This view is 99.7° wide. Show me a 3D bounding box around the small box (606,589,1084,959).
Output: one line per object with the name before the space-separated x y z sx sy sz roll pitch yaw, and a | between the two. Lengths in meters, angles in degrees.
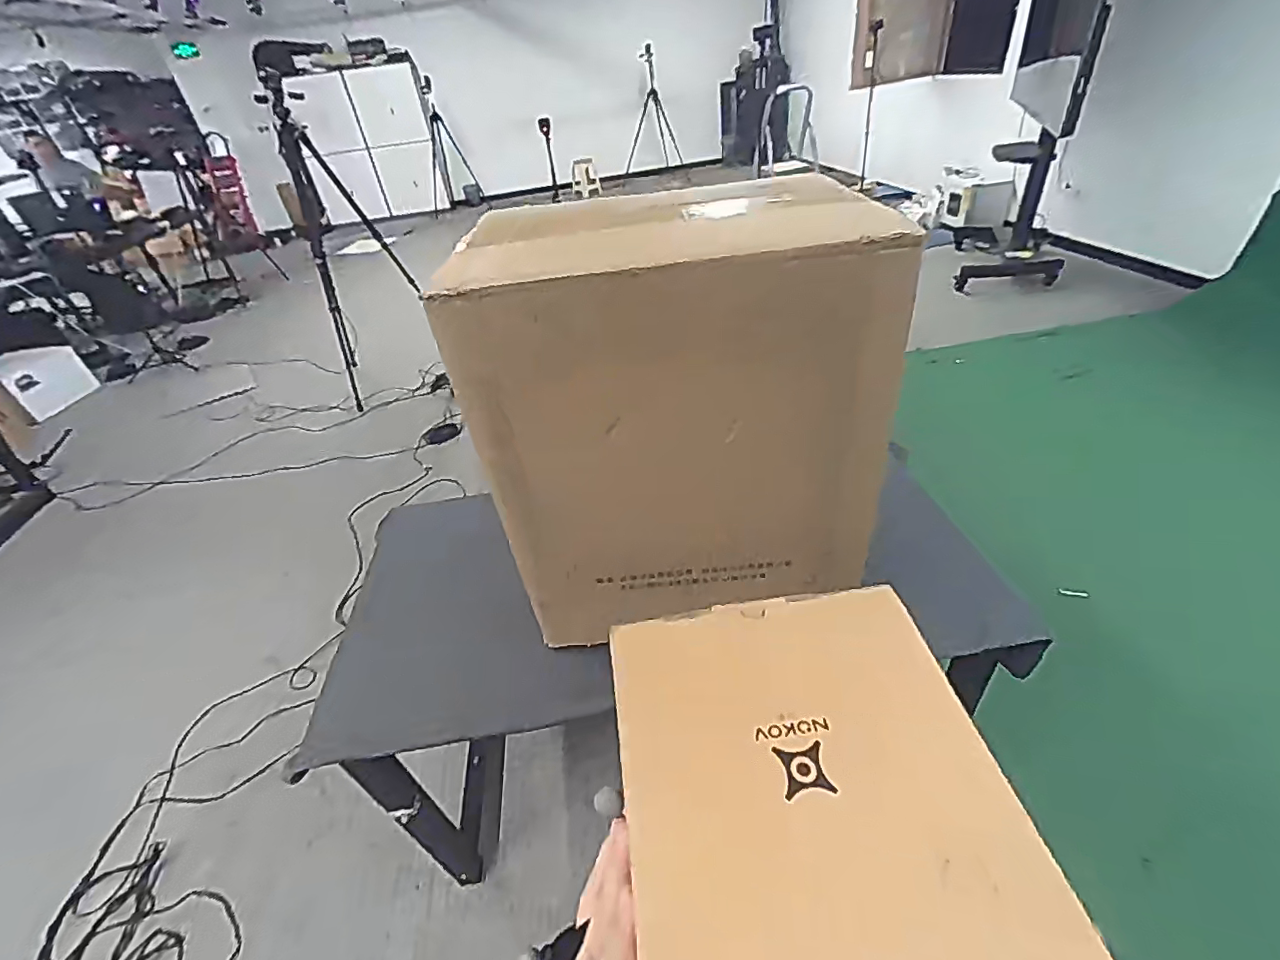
small box | 0.077 0.191 0.300 0.168 0.176 0.179 -8 39 -1
